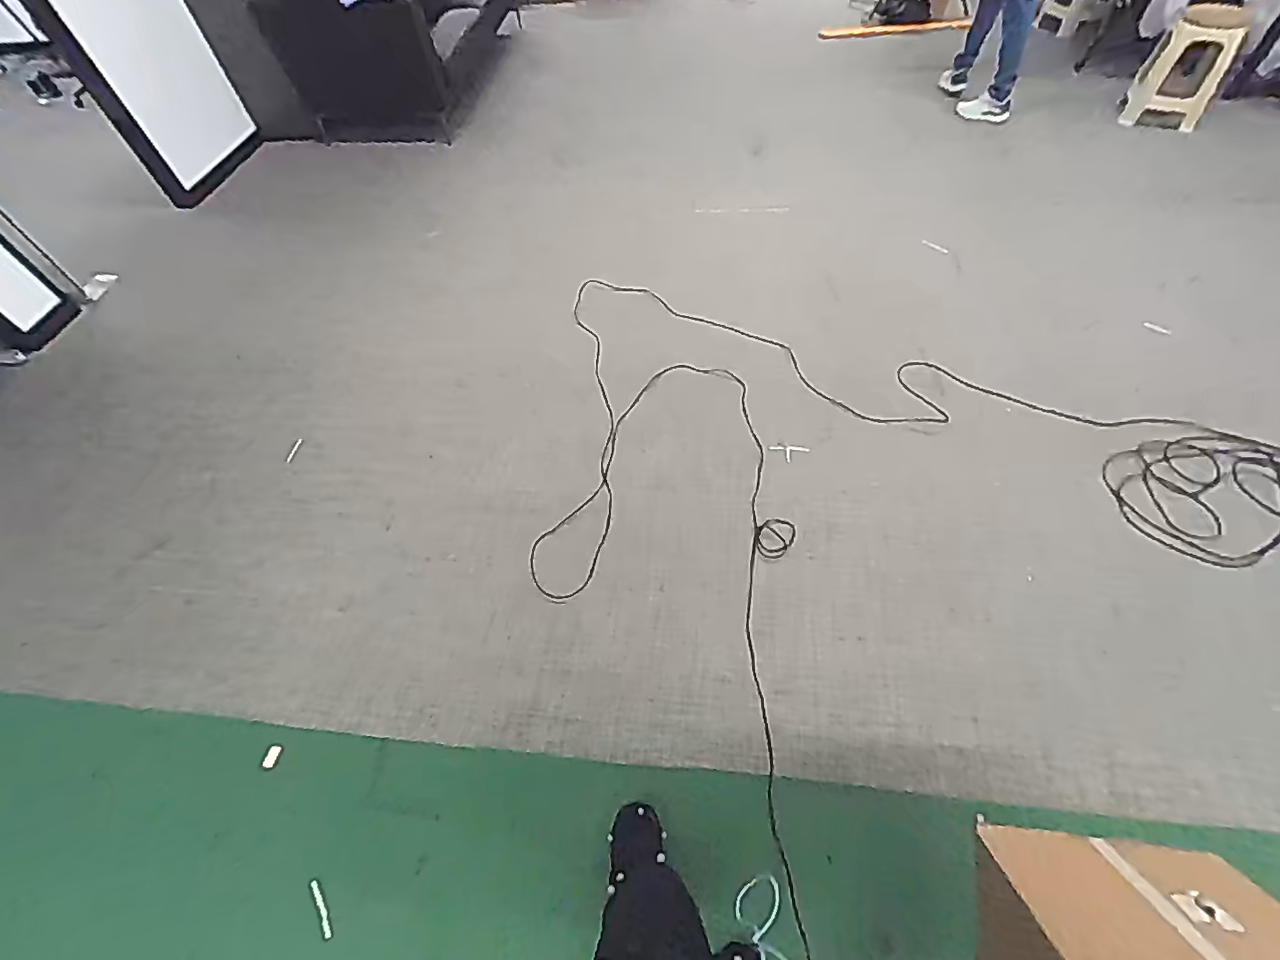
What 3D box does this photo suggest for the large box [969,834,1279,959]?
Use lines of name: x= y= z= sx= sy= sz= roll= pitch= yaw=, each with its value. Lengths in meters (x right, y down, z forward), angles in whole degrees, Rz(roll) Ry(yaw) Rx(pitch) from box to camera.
large box: x=0.611 y=0.681 z=0.594 sx=0.320 sy=0.408 sz=0.320 roll=1 pitch=88 yaw=12
